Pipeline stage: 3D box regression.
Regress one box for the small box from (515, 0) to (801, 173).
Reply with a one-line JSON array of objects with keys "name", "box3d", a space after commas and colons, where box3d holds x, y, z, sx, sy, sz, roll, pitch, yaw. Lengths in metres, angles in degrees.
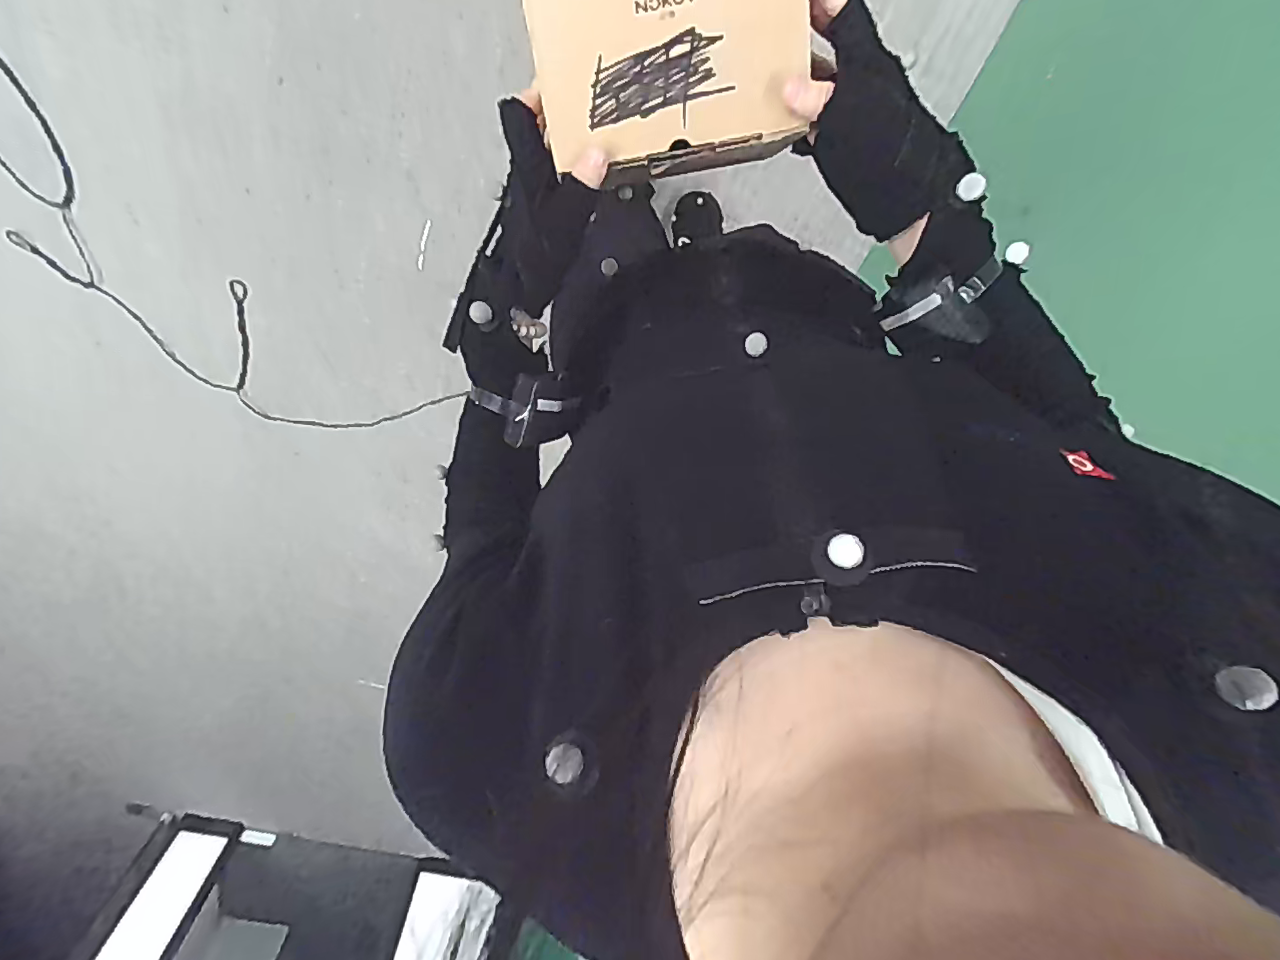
[{"name": "small box", "box3d": [0.013, -0.324, 0.376, 0.168, 0.176, 0.179, -6, 115, 8]}]
